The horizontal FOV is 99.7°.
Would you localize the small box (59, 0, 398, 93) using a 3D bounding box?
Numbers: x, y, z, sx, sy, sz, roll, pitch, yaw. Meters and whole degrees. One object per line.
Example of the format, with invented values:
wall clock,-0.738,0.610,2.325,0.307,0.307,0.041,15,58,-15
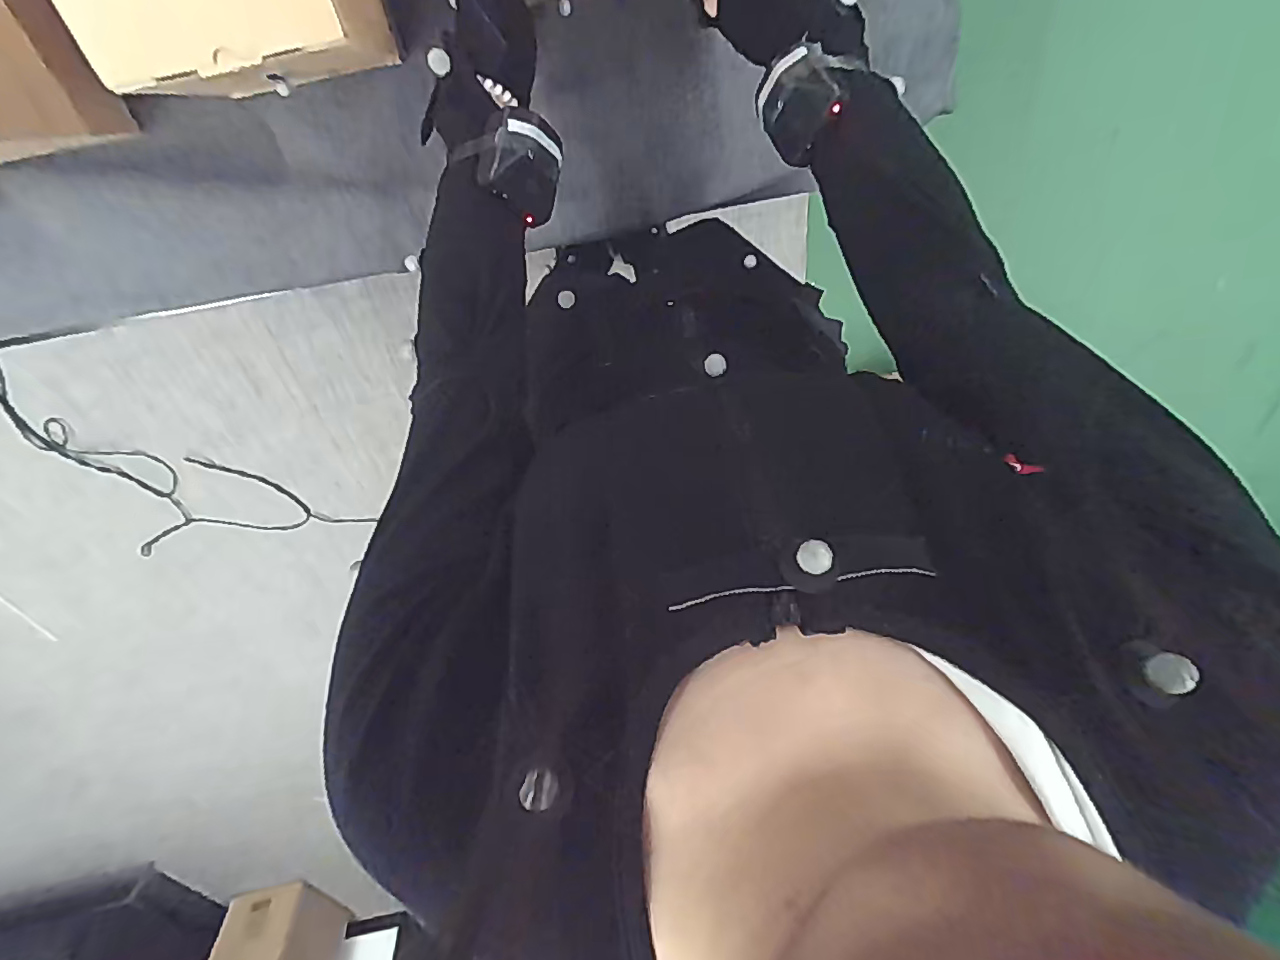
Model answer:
small box,-0.297,-0.391,0.377,0.168,0.176,0.179,-13,127,-1
